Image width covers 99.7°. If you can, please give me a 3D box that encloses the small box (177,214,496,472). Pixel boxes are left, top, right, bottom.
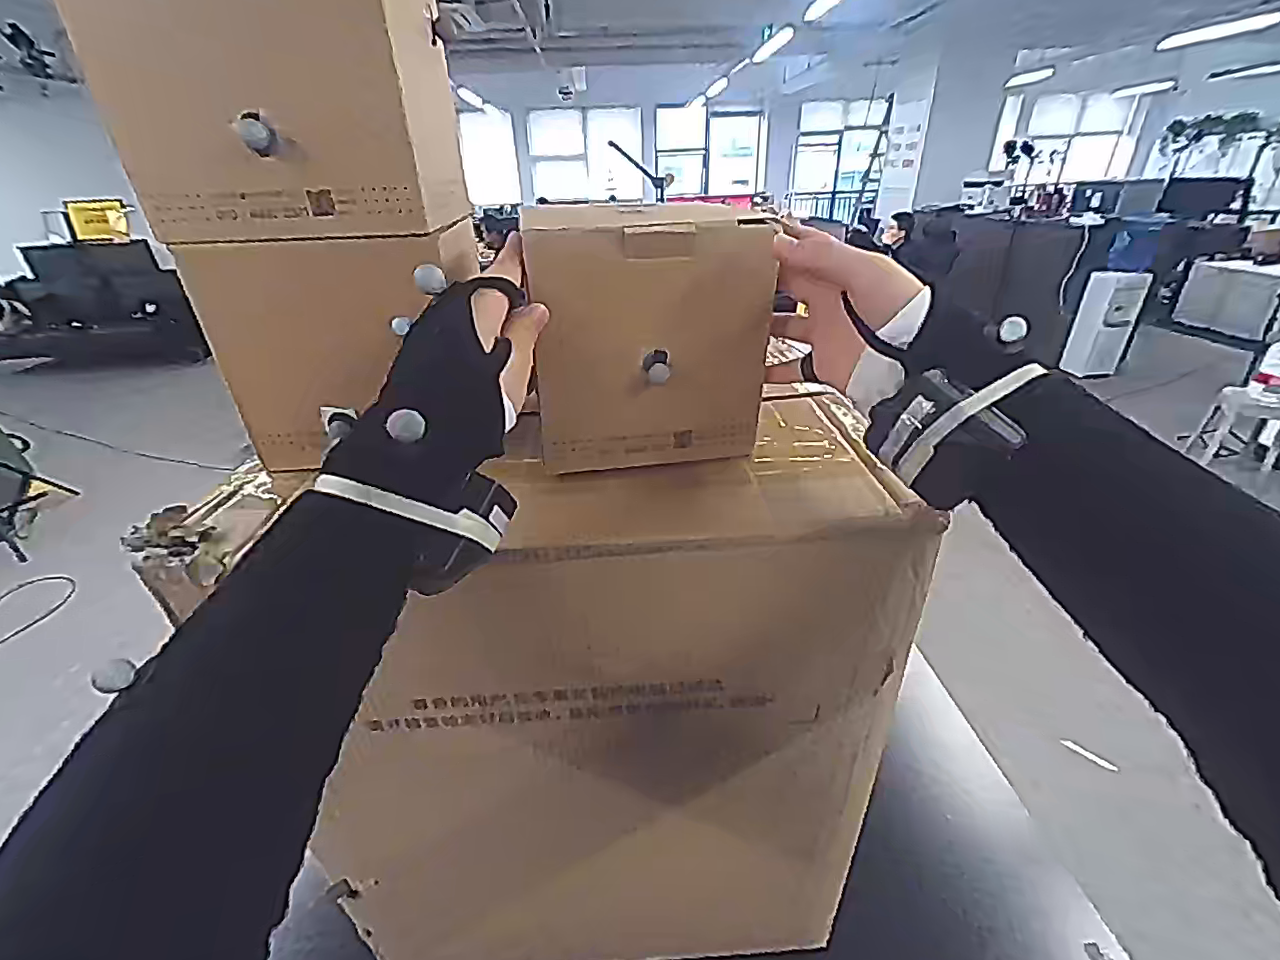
[{"bbox_3d":[-0.220,-0.123,0.456,0.168,0.176,0.179,-6,32,-7],"label":"small box"}]

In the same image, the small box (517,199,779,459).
[{"bbox_3d":[-0.007,-0.124,0.435,0.168,0.176,0.179,-5,32,-10],"label":"small box"}]

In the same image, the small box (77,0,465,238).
[{"bbox_3d":[-0.226,-0.265,0.371,0.168,0.176,0.179,-5,30,-5],"label":"small box"}]
